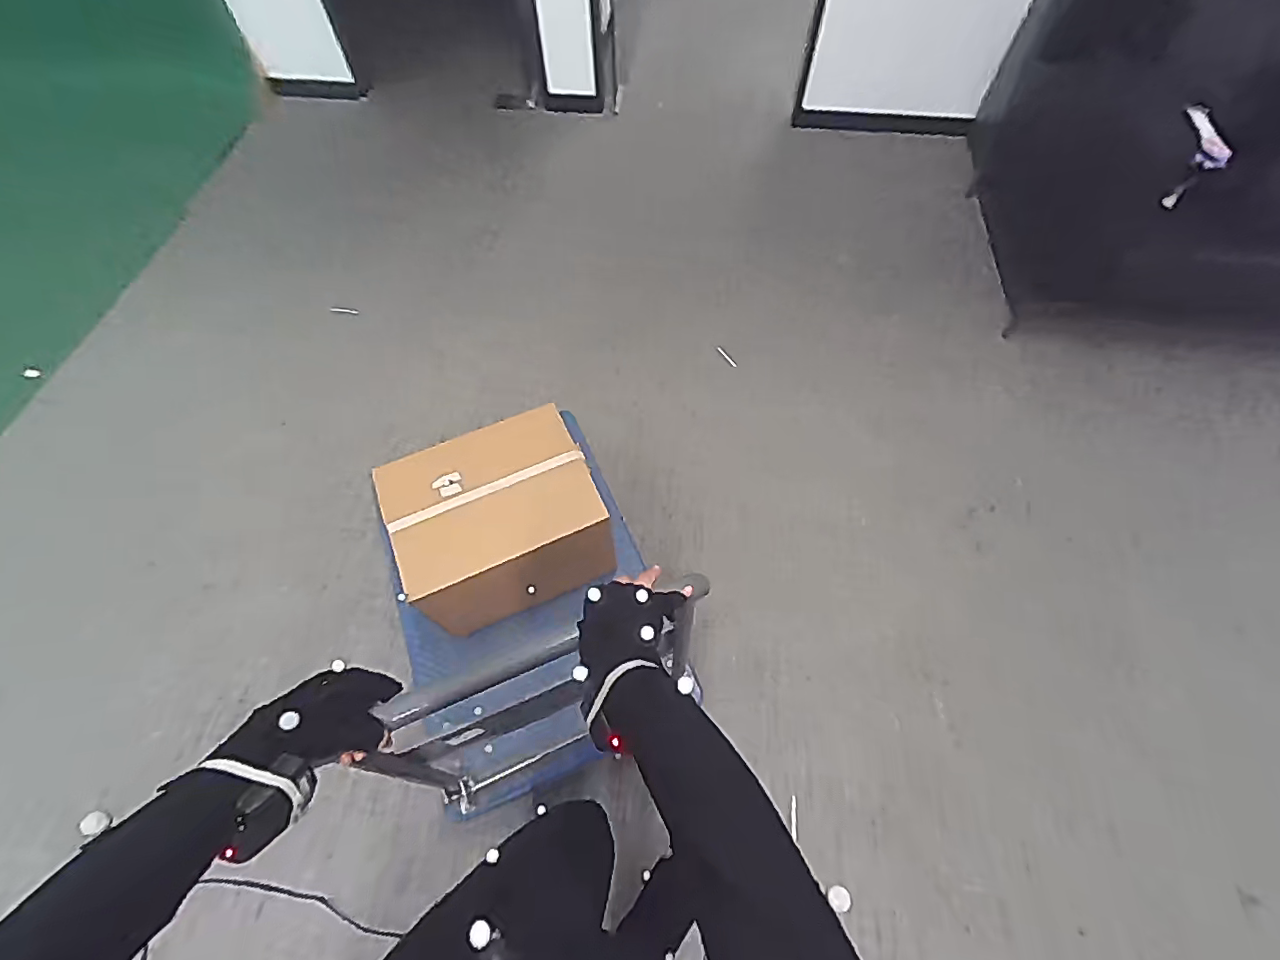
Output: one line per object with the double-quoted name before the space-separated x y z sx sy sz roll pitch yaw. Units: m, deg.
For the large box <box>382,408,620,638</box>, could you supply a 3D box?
"large box" -0.291 0.106 1.225 0.408 0.320 0.320 -23 63 -11
